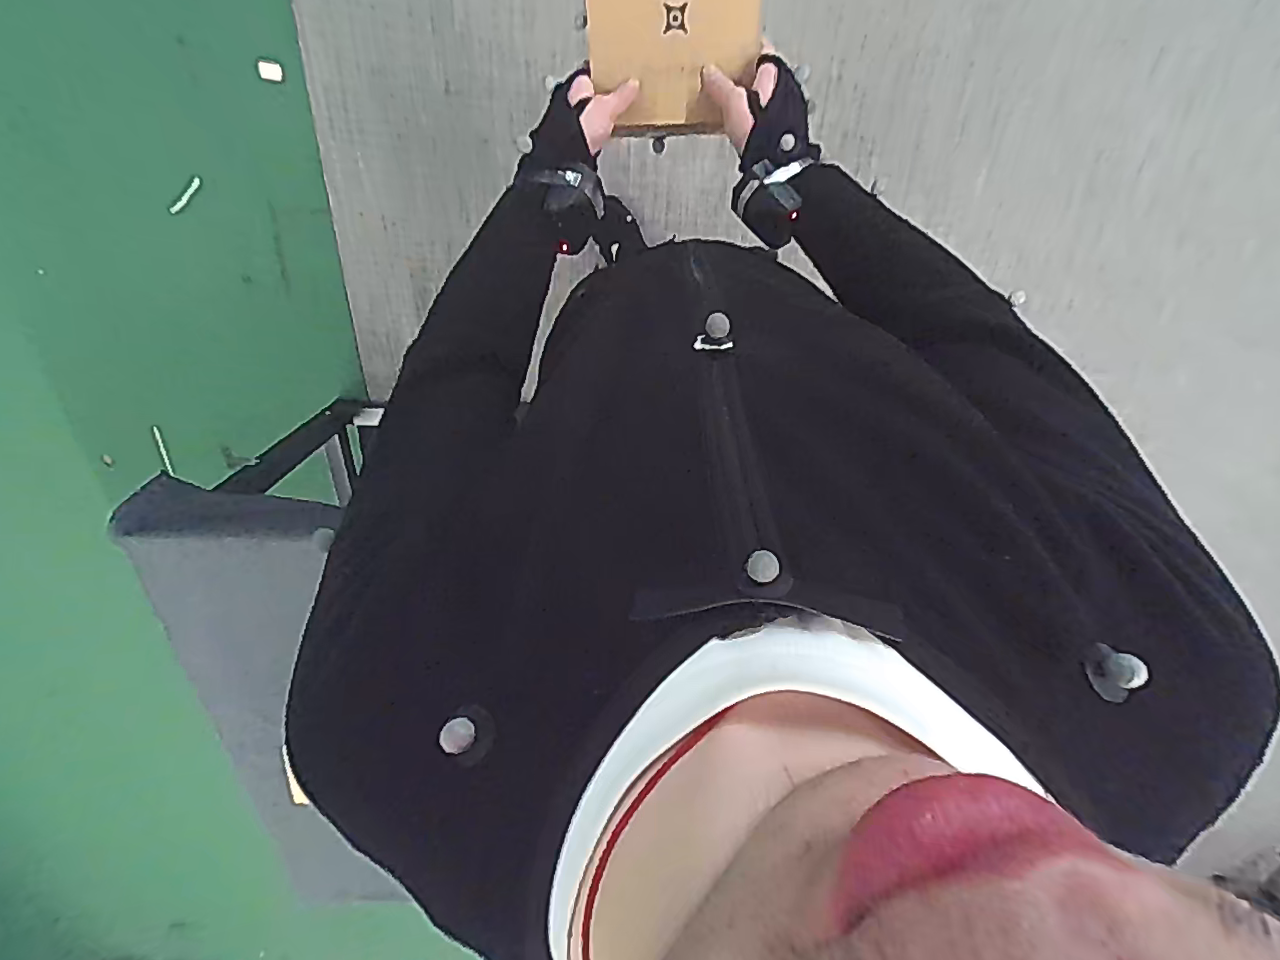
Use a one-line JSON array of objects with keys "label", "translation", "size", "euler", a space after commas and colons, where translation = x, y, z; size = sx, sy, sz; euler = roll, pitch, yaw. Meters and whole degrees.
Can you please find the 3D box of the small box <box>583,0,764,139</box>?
[{"label": "small box", "translation": [0.030, -0.462, 0.556], "size": [0.168, 0.176, 0.179], "euler": [1, 119, 1]}]
